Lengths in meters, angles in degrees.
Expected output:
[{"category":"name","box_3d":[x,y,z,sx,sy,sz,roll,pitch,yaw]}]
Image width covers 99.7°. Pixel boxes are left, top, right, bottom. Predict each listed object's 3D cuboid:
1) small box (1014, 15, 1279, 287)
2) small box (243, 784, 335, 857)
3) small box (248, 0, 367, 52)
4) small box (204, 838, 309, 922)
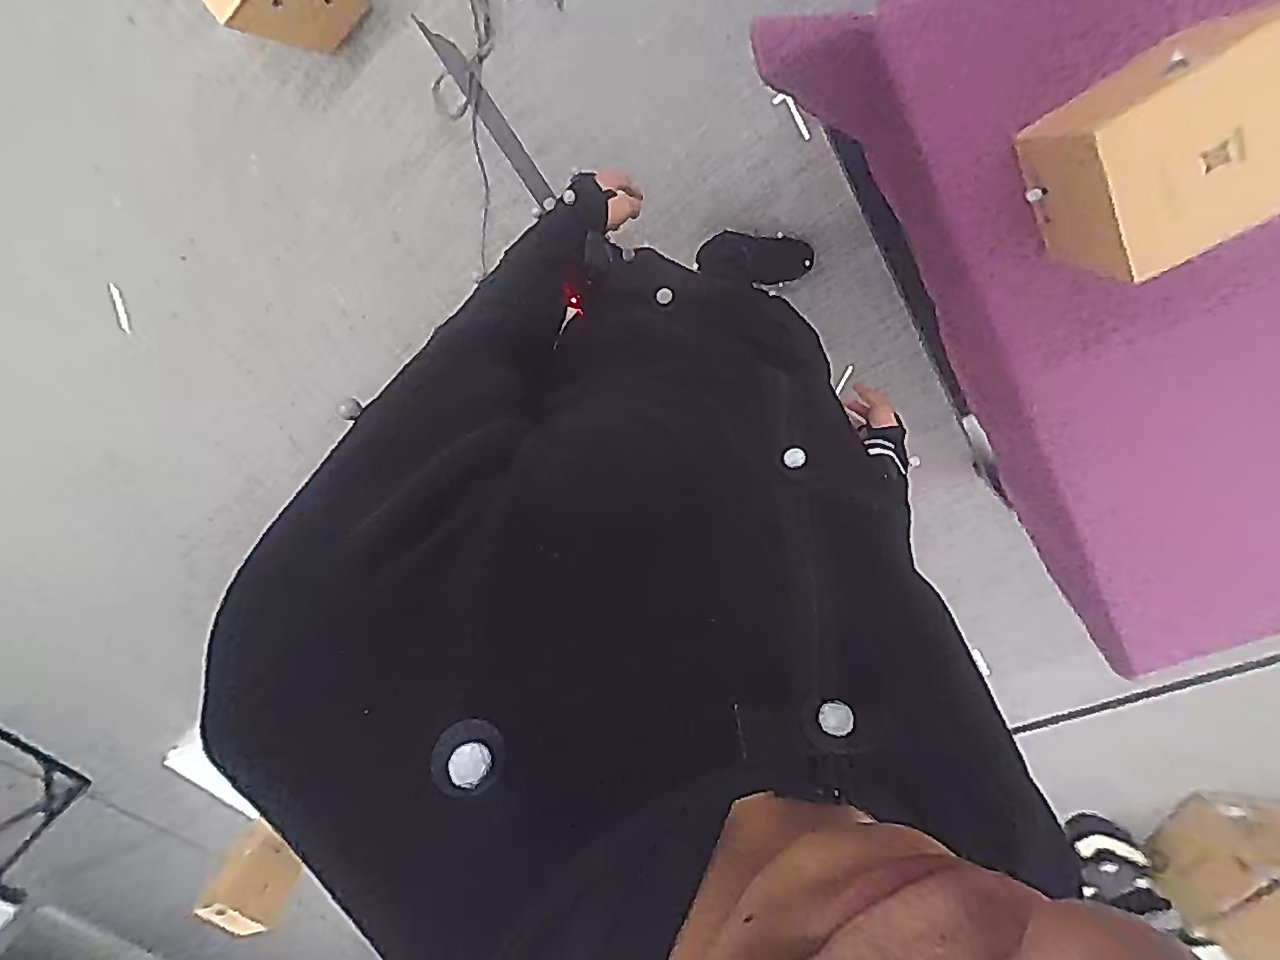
[{"category":"small box","box_3d":[0.539,-0.334,0.560,0.179,0.176,0.168,-28,113,22]},{"category":"small box","box_3d":[-1.209,1.192,1.877,0.179,0.176,0.168,-28,114,22]},{"category":"small box","box_3d":[-0.722,-1.057,1.144,0.179,0.176,0.168,-29,113,22]},{"category":"small box","box_3d":[-1.223,1.277,1.736,0.168,0.176,0.179,-27,115,23]}]
